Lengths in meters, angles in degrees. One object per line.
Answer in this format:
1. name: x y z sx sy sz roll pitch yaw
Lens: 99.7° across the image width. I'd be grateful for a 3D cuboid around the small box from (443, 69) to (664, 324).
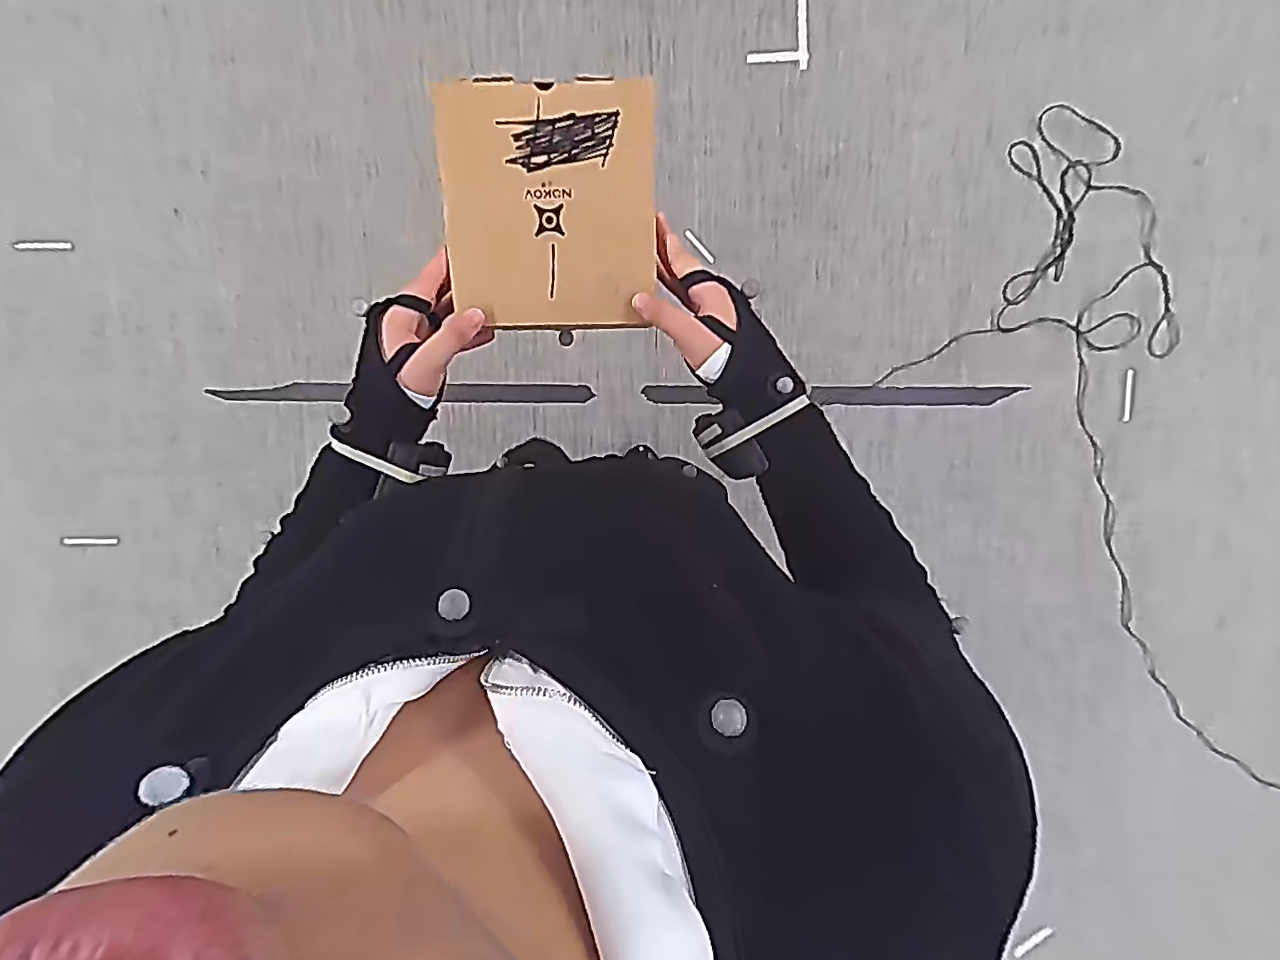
1. small box: -0.066 -0.238 0.496 0.168 0.176 0.179 -1 105 -1
